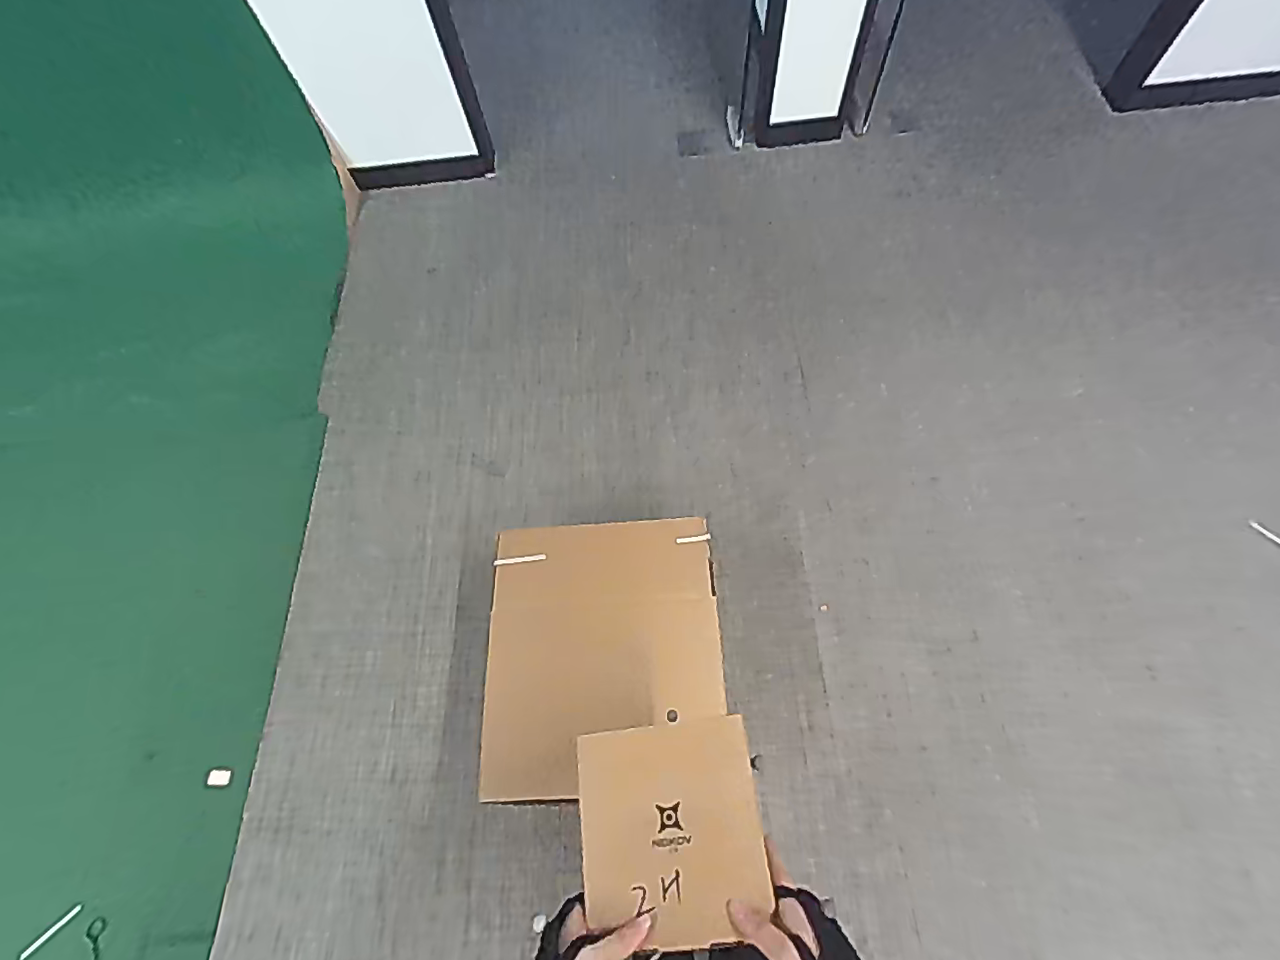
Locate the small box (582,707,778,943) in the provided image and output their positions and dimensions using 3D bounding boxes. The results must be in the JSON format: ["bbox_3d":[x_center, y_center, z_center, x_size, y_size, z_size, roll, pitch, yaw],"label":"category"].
[{"bbox_3d":[0.042,0.348,0.571,0.168,0.176,0.179,-10,64,6],"label":"small box"}]
